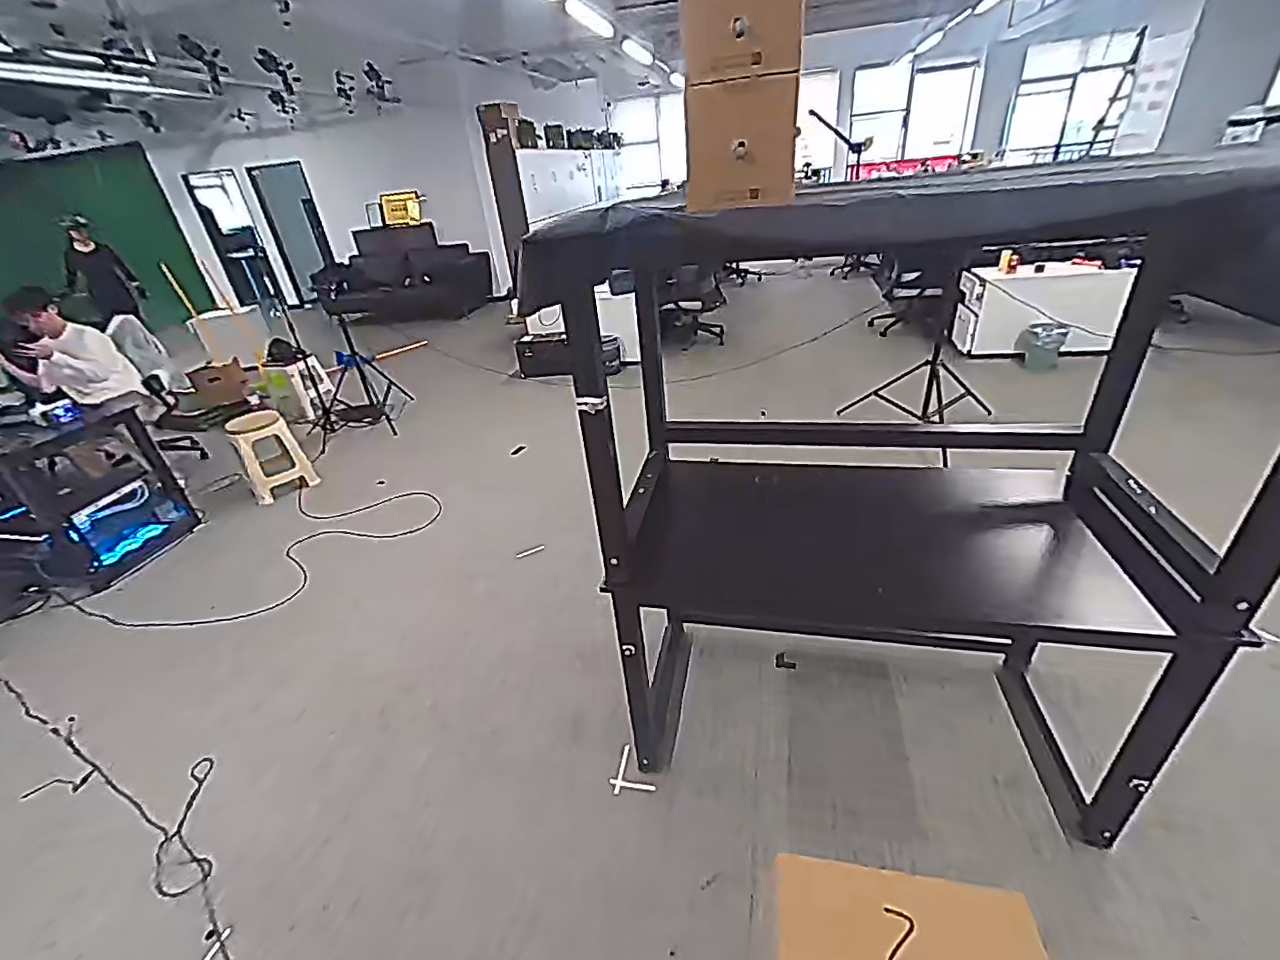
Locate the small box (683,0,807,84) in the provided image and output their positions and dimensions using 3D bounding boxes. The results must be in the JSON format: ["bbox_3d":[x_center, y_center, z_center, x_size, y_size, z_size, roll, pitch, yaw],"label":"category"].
[{"bbox_3d":[0.151,-0.678,0.788,0.168,0.176,0.179,-1,29,11],"label":"small box"}]

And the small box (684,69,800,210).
[{"bbox_3d":[0.163,-0.533,0.866,0.168,0.176,0.179,1,30,10],"label":"small box"}]
